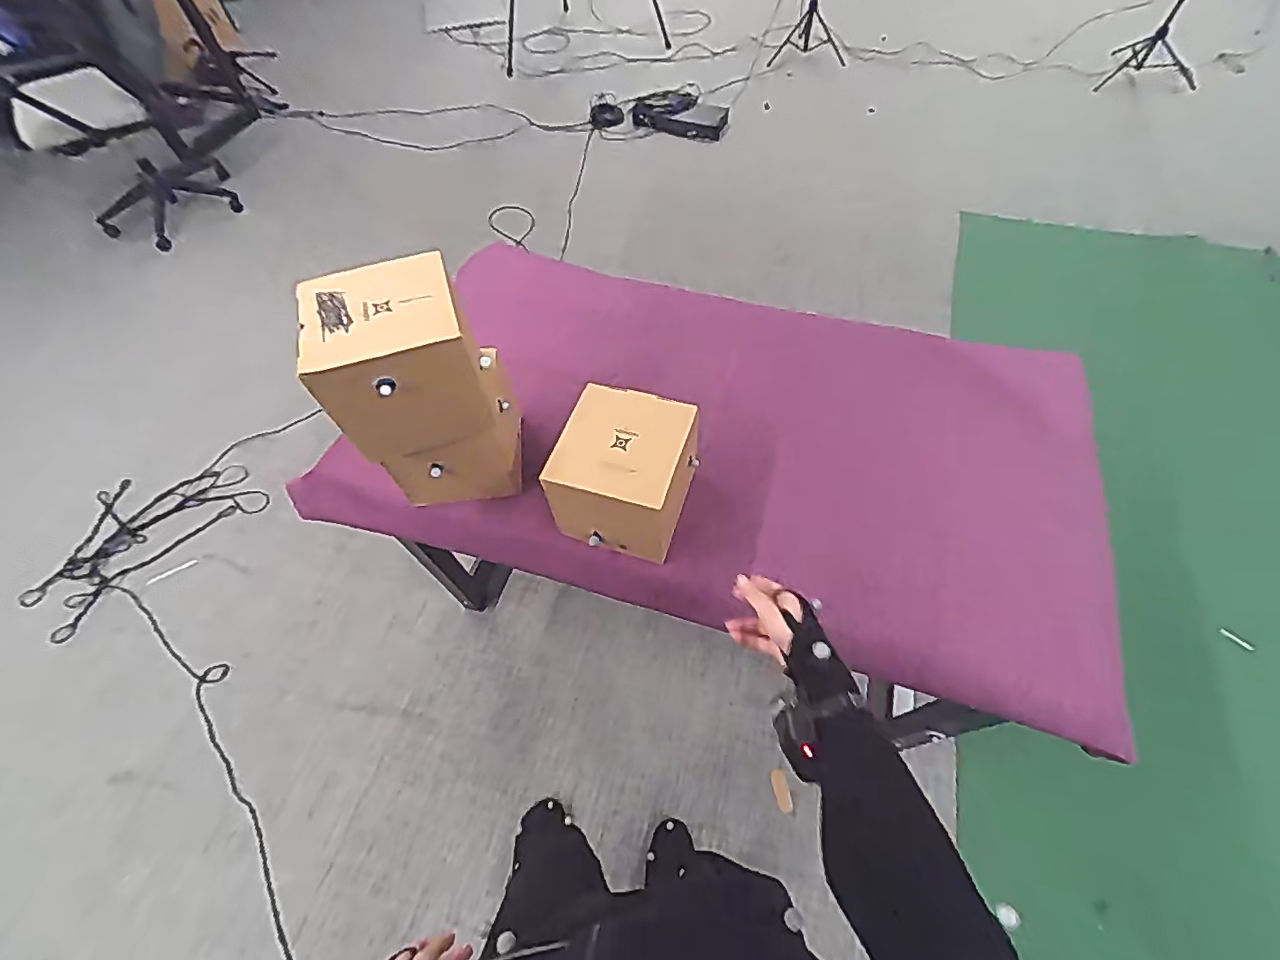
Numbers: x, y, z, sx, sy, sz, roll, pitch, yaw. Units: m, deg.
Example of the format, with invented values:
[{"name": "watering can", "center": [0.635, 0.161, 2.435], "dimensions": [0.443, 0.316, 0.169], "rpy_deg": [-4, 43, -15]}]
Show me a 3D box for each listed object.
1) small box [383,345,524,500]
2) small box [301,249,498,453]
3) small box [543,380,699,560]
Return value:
[{"name": "small box", "center": [-0.286, -0.082, 0.838], "dimensions": [0.179, 0.176, 0.168], "rpy_deg": [-7, 58, -2]}, {"name": "small box", "center": [-0.299, -0.158, 0.691], "dimensions": [0.179, 0.176, 0.168], "rpy_deg": [-17, 59, -9]}, {"name": "small box", "center": [-0.019, -0.012, 0.784], "dimensions": [0.168, 0.176, 0.179], "rpy_deg": [14, 60, 13]}]
